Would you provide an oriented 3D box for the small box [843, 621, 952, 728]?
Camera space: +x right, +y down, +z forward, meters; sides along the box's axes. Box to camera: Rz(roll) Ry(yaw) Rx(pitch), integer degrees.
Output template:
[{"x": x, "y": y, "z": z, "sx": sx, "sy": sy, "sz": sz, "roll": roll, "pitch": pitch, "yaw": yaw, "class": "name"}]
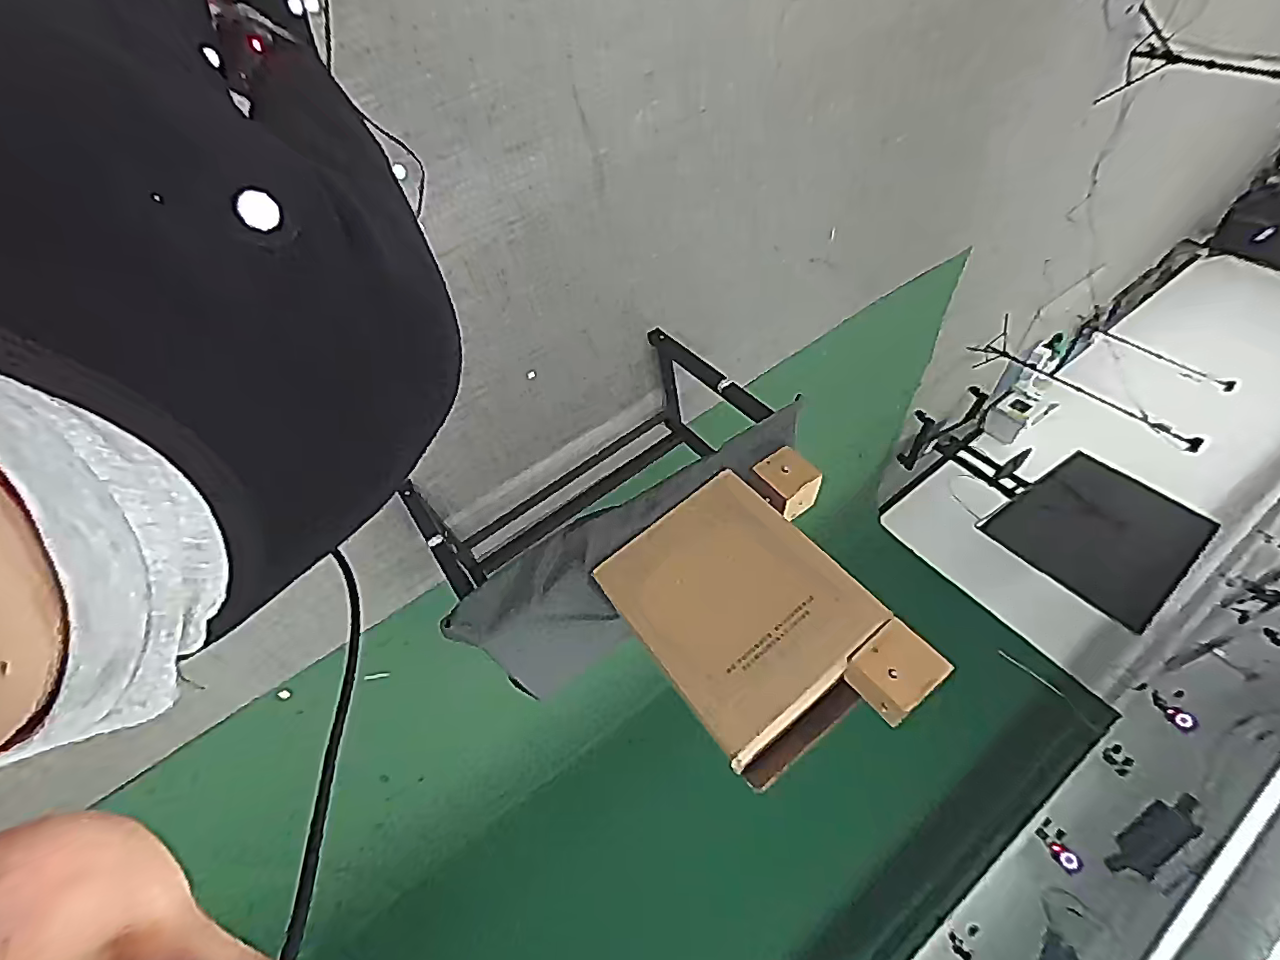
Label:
[{"x": 0.633, "y": 0.482, "z": 1.352, "sx": 0.168, "sy": 0.176, "sz": 0.179, "roll": -36, "pitch": 146, "yaw": -12, "class": "small box"}]
